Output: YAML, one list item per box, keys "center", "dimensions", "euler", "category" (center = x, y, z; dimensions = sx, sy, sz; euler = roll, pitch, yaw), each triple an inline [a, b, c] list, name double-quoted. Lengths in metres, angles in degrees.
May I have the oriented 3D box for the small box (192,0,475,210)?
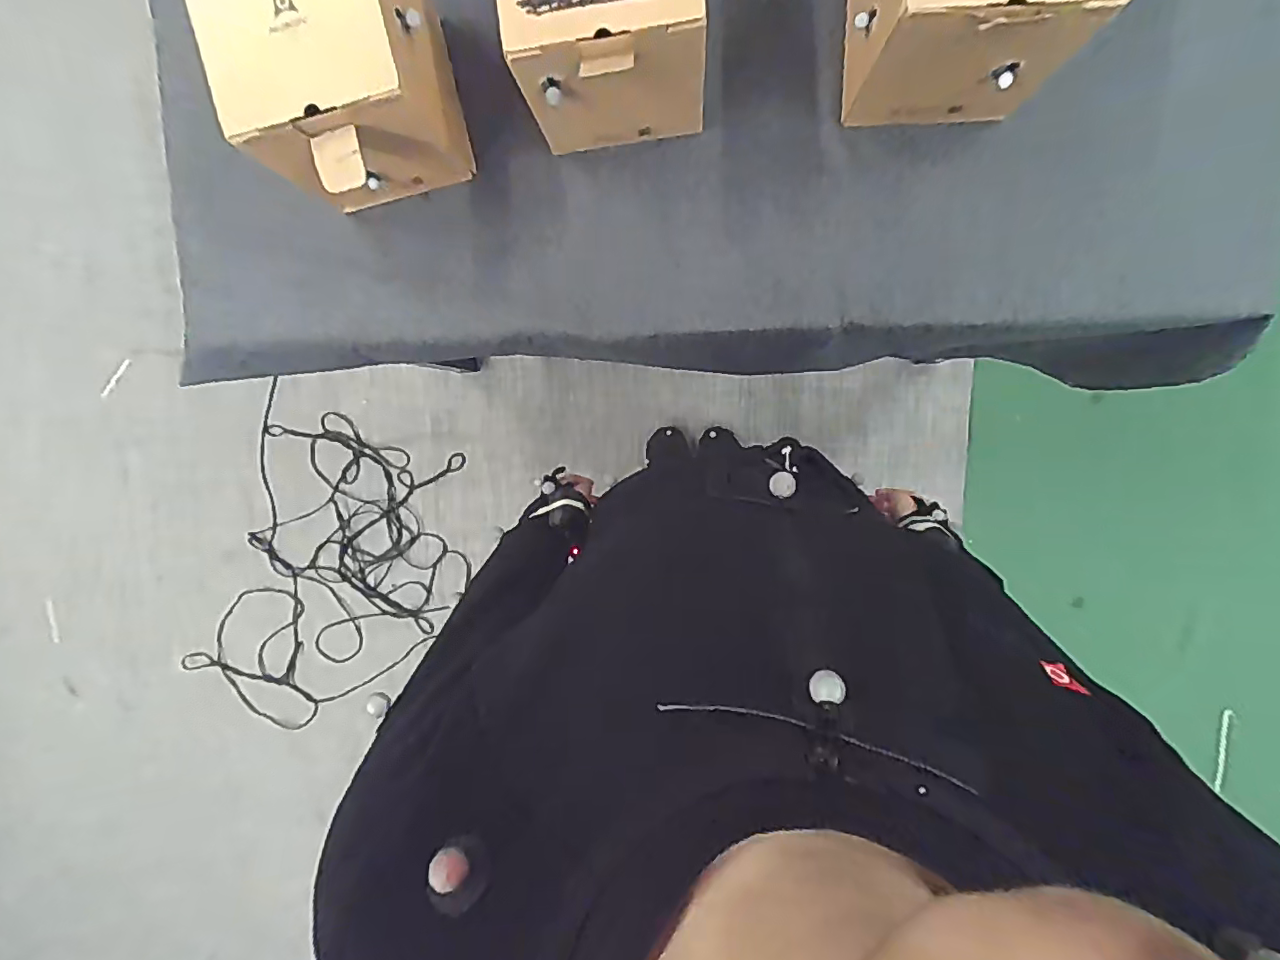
- center: [-0.283, -0.398, 0.527]
  dimensions: [0.168, 0.176, 0.179]
  euler: [-12, 96, 6]
  category: "small box"

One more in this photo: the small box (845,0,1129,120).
- center: [0.289, -0.446, 0.475]
  dimensions: [0.168, 0.176, 0.179]
  euler: [0, 96, 4]
  category: "small box"
